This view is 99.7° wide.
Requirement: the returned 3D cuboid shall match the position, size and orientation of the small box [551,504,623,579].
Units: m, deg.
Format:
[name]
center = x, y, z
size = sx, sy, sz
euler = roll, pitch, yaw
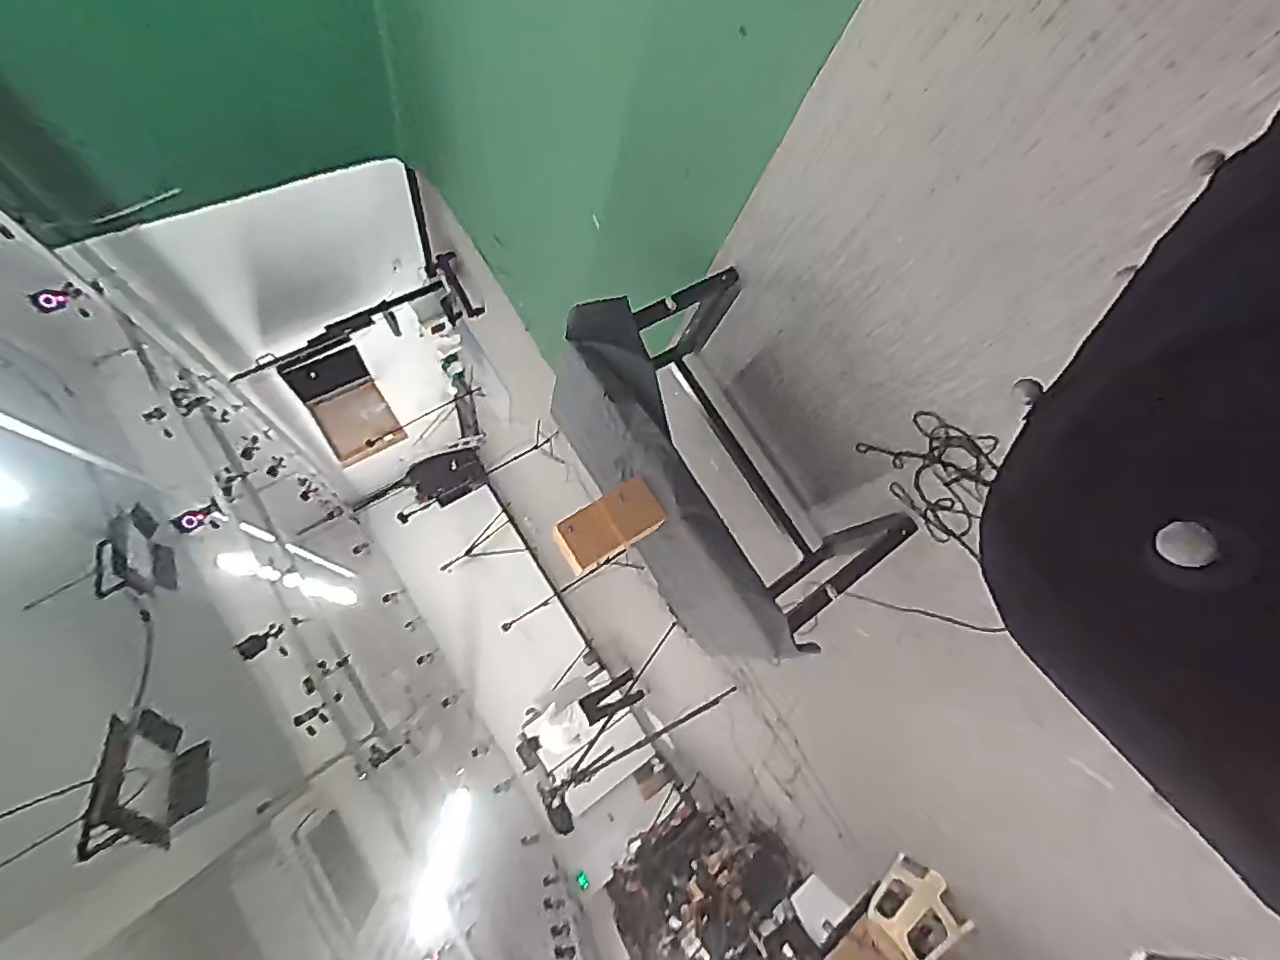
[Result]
[small box]
center = -0.177, 0.208, 1.807
size = 0.179, 0.176, 0.168
euler = 58, 160, 7
